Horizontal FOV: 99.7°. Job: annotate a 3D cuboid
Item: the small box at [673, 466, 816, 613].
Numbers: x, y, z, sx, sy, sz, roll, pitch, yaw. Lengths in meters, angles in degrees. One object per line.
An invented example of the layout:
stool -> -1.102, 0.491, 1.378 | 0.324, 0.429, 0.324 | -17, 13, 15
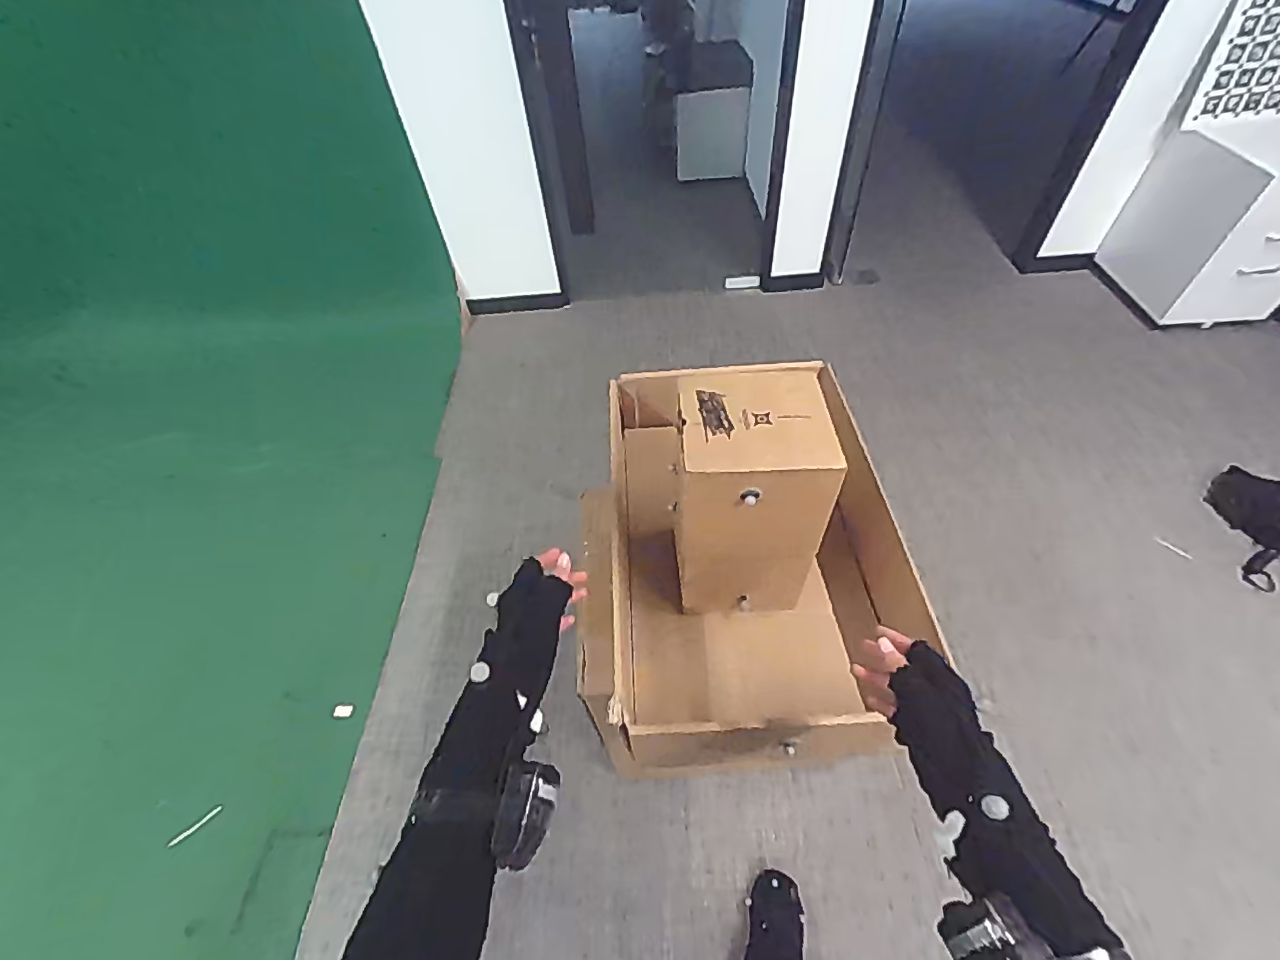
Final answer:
small box -> 0.143, 0.087, 0.814 | 0.179, 0.176, 0.168 | -3, 48, 0

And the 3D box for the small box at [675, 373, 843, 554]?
small box -> 0.135, -0.017, 0.687 | 0.179, 0.176, 0.168 | -1, 49, 2
